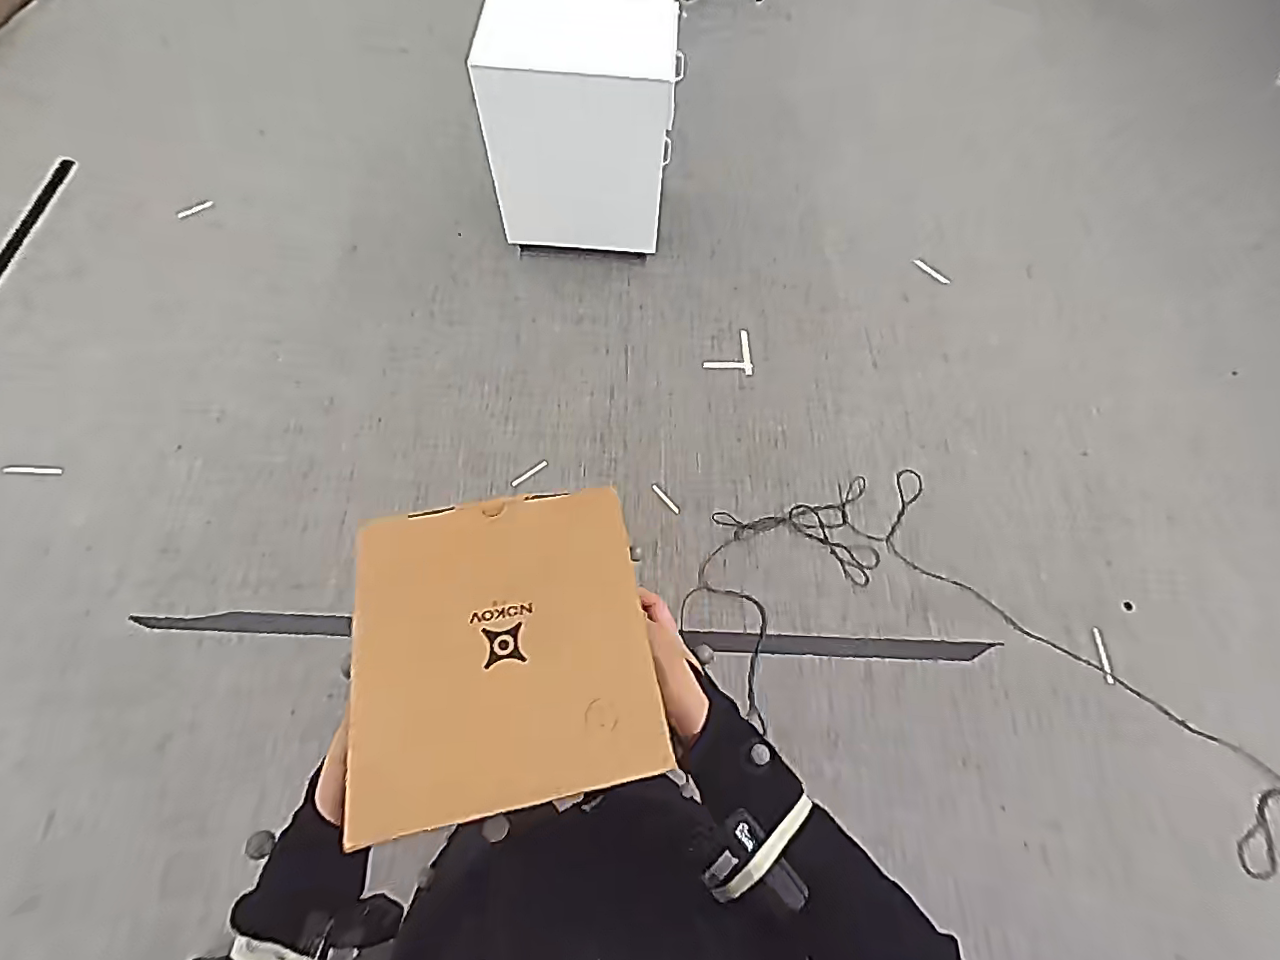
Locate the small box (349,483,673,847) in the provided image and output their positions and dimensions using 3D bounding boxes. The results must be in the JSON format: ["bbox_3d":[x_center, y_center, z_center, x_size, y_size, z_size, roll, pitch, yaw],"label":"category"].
[{"bbox_3d":[-0.083,0.126,0.378,0.168,0.176,0.179,-9,61,-11],"label":"small box"}]
